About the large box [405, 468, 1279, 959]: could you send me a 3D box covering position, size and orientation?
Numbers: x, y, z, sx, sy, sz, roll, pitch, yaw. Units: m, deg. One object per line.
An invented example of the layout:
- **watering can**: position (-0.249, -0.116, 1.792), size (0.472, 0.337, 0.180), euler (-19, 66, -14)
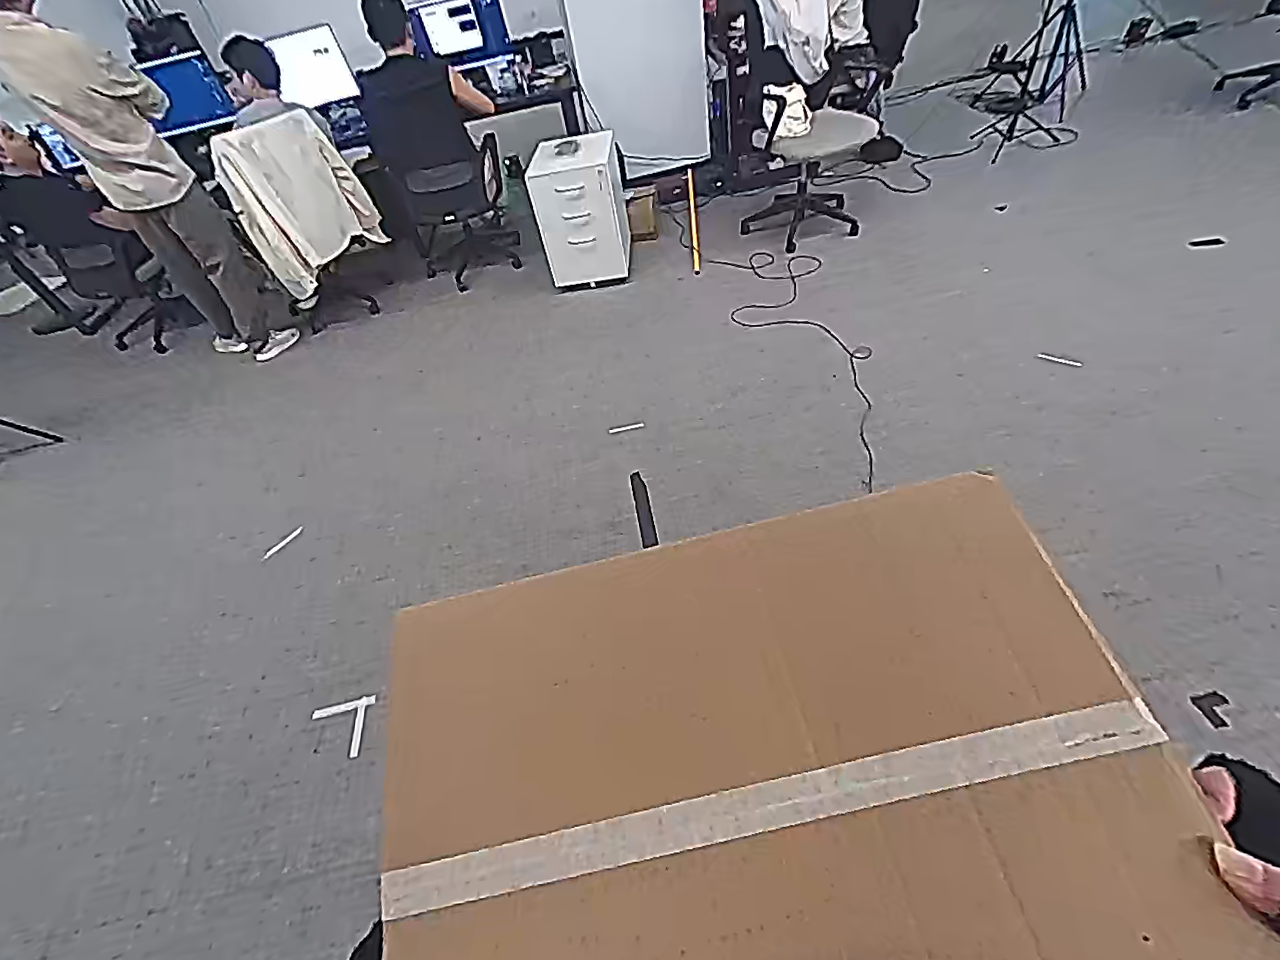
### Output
- **large box**: position (0.085, 0.242, 0.420), size (0.408, 0.320, 0.320), euler (-14, 60, 2)
